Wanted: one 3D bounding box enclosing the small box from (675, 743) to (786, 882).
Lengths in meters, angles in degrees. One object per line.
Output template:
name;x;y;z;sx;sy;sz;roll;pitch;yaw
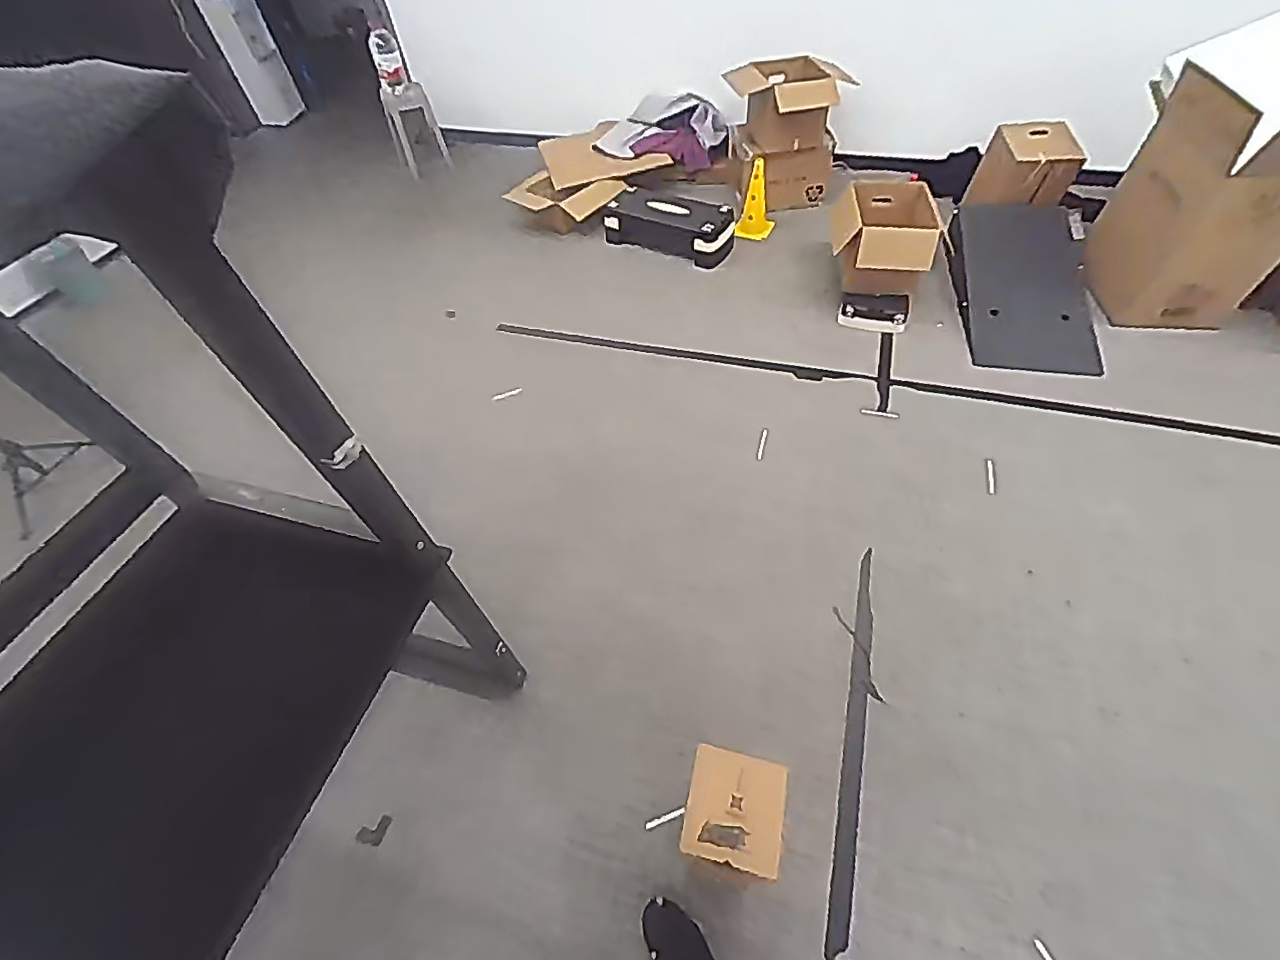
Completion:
small box;0.165;0.617;1.000;0.168;0.176;0.179;11;54;11

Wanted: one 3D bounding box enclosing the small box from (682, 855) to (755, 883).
small box;0.193;0.812;1.264;0.168;0.176;0.179;12;55;12
